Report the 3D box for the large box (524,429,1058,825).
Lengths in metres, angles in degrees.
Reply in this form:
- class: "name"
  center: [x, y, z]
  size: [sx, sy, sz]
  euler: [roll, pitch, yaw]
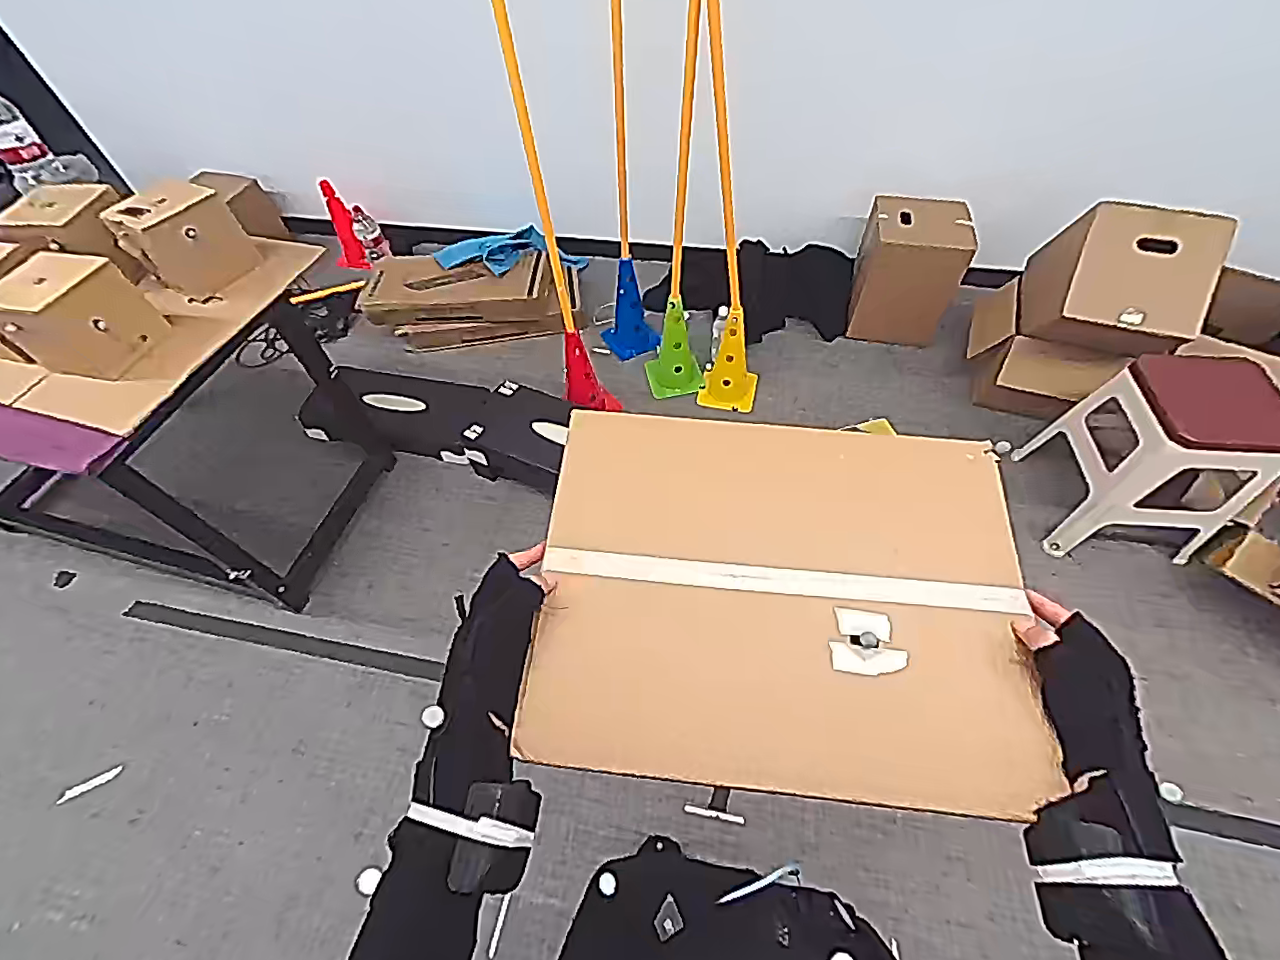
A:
- class: "large box"
  center: [0.121, 0.166, 0.598]
  size: [0.408, 0.320, 0.320]
  euler: [5, 64, 3]
